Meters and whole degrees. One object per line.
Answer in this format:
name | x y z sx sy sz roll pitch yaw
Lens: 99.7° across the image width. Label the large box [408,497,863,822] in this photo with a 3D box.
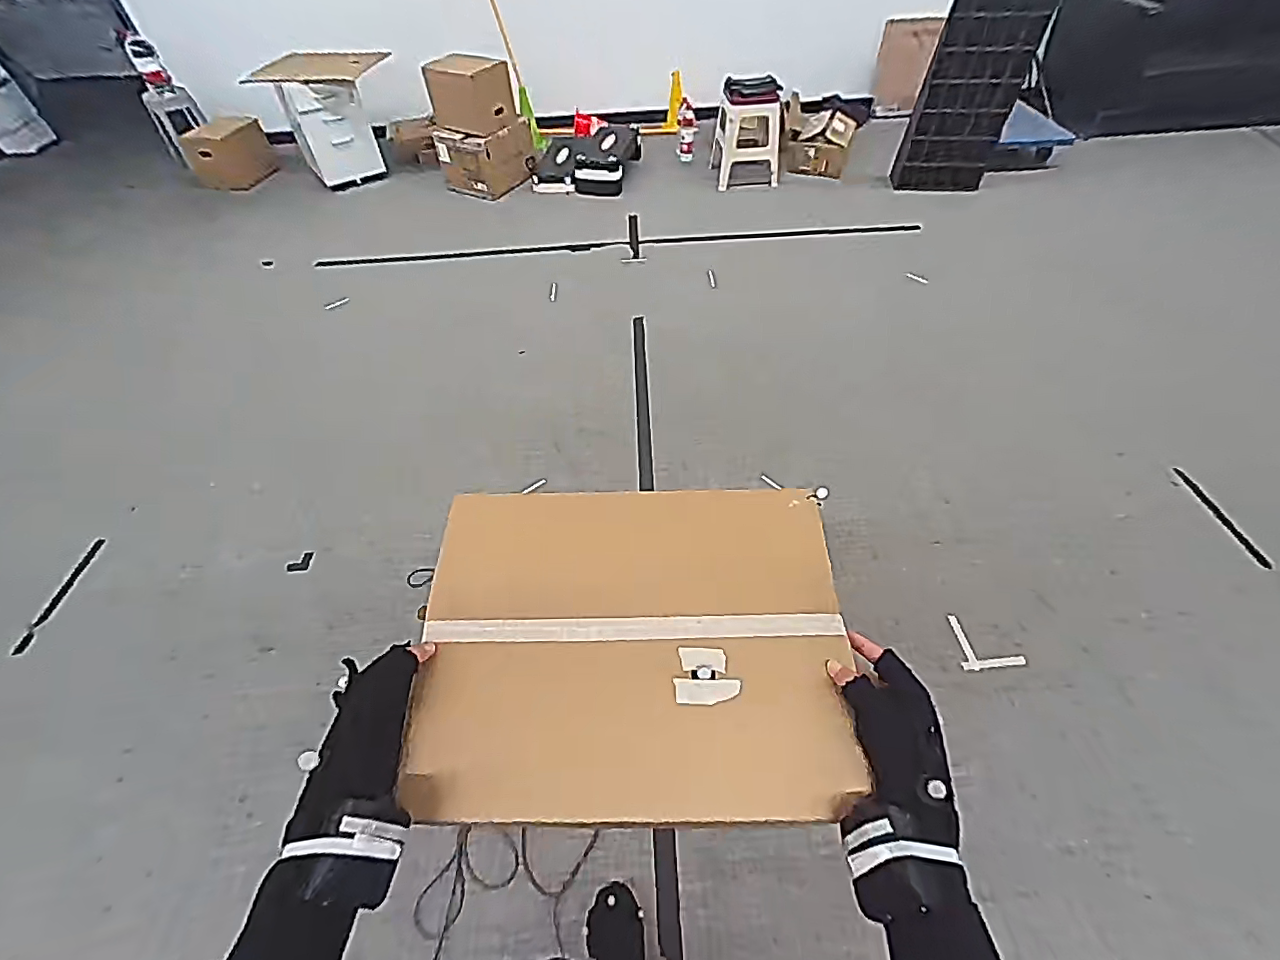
large box | -0.005 0.233 0.668 0.408 0.320 0.320 -1 58 1
